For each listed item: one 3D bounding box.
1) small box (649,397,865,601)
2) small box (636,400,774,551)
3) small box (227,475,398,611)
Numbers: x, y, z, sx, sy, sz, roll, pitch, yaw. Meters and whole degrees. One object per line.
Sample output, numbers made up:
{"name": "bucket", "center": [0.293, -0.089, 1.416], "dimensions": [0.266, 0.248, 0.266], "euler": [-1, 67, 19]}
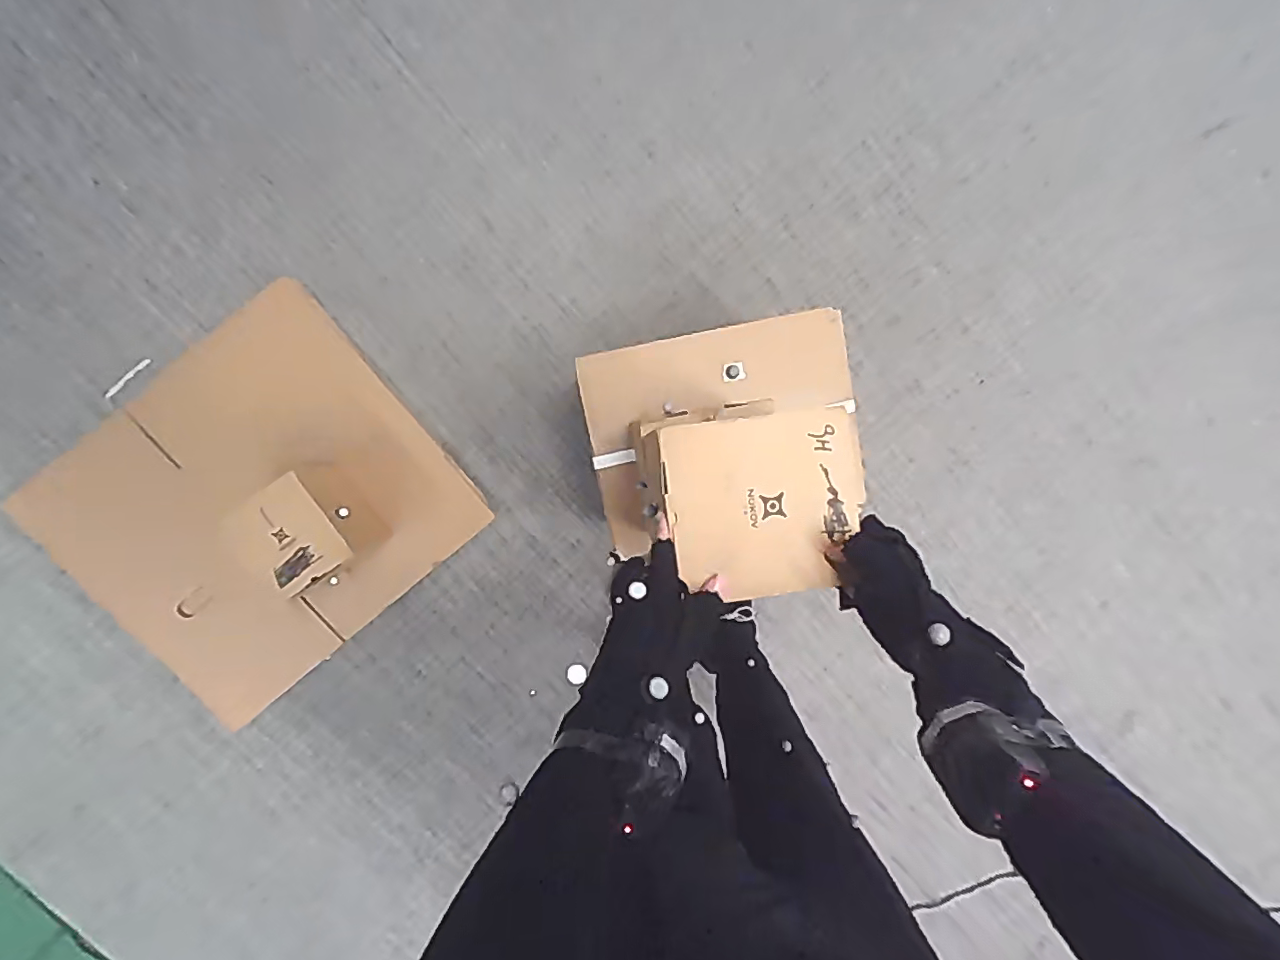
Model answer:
{"name": "small box", "center": [0.107, 0.018, 0.575], "dimensions": [0.179, 0.176, 0.168], "euler": [-11, 91, -3]}
{"name": "small box", "center": [0.091, -0.007, 0.738], "dimensions": [0.168, 0.176, 0.179], "euler": [-11, 97, -2]}
{"name": "small box", "center": [-0.584, 0.104, 0.993], "dimensions": [0.168, 0.176, 0.179], "euler": [-35, 95, 0]}
